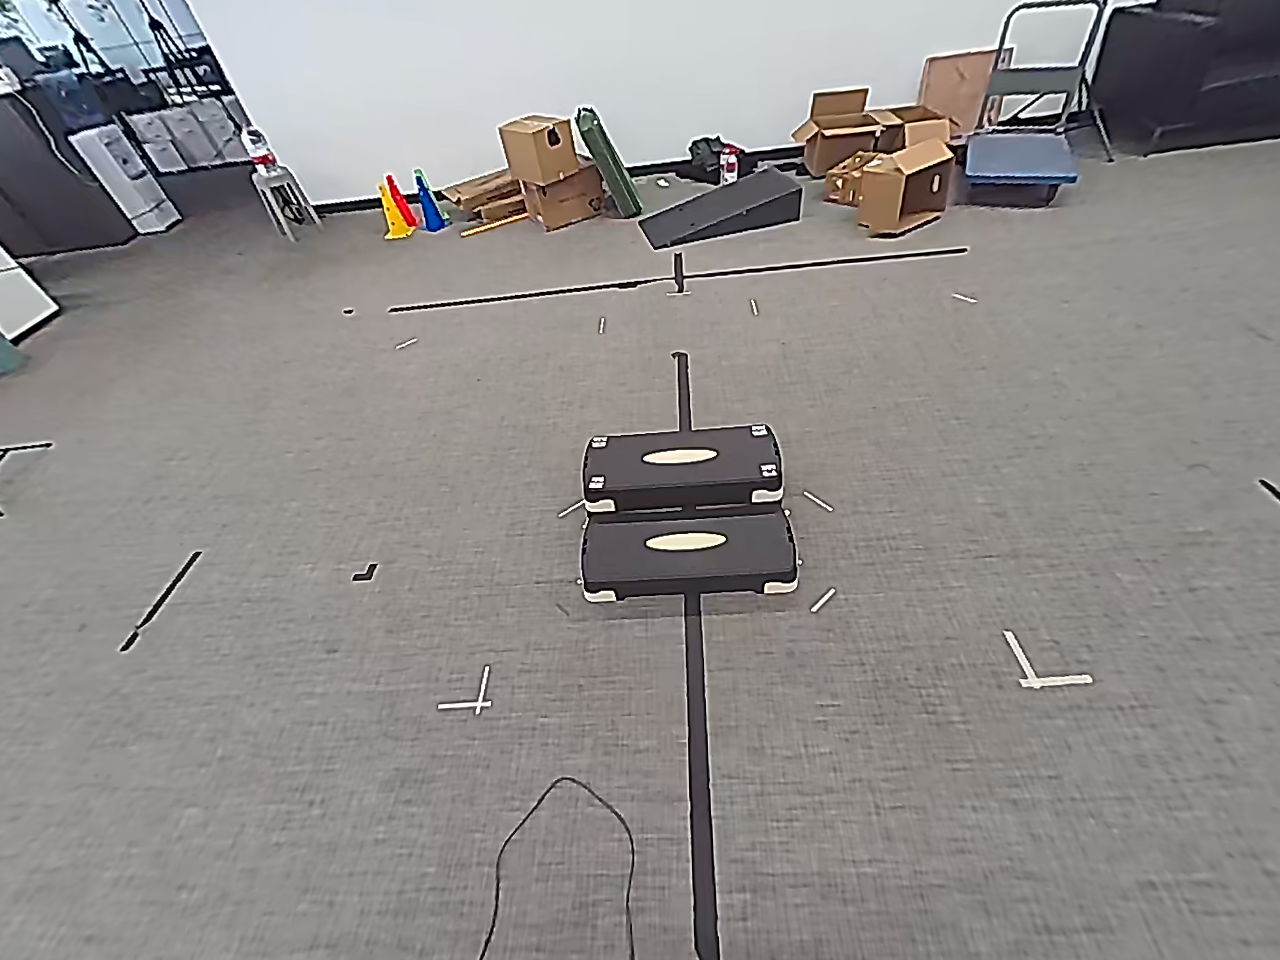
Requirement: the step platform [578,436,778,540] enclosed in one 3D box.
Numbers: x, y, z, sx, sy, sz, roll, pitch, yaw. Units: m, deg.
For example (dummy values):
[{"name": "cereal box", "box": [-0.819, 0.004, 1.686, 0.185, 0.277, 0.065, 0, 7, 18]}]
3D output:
[{"name": "step platform", "box": [0.127, 0.023, 1.885, 0.684, 0.204, 0.286, -4, 46, 4]}]
